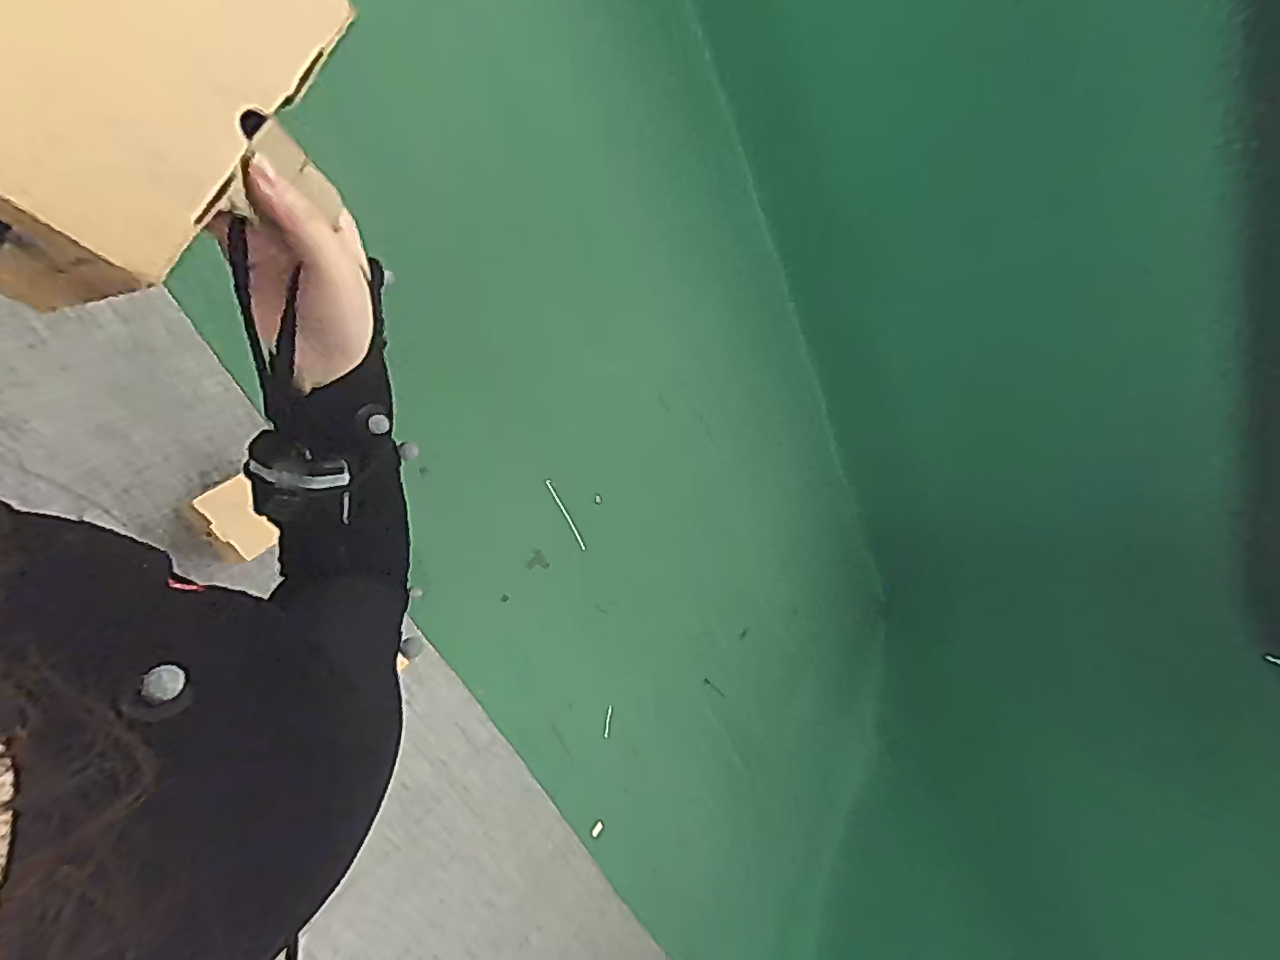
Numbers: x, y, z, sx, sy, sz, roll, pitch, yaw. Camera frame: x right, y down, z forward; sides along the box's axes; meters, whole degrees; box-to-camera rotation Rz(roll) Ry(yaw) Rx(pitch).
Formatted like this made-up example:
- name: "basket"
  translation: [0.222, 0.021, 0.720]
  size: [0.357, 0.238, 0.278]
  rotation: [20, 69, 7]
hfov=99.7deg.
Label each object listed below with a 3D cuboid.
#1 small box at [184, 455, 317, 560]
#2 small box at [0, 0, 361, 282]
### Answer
- name: "small box"
  translation: [-0.883, 0.065, 1.220]
  size: [0.179, 0.176, 0.168]
  rotation: [-48, 119, -41]
- name: "small box"
  translation: [-0.251, -0.189, 0.189]
  size: [0.179, 0.176, 0.168]
  rotation: [43, 61, -54]
